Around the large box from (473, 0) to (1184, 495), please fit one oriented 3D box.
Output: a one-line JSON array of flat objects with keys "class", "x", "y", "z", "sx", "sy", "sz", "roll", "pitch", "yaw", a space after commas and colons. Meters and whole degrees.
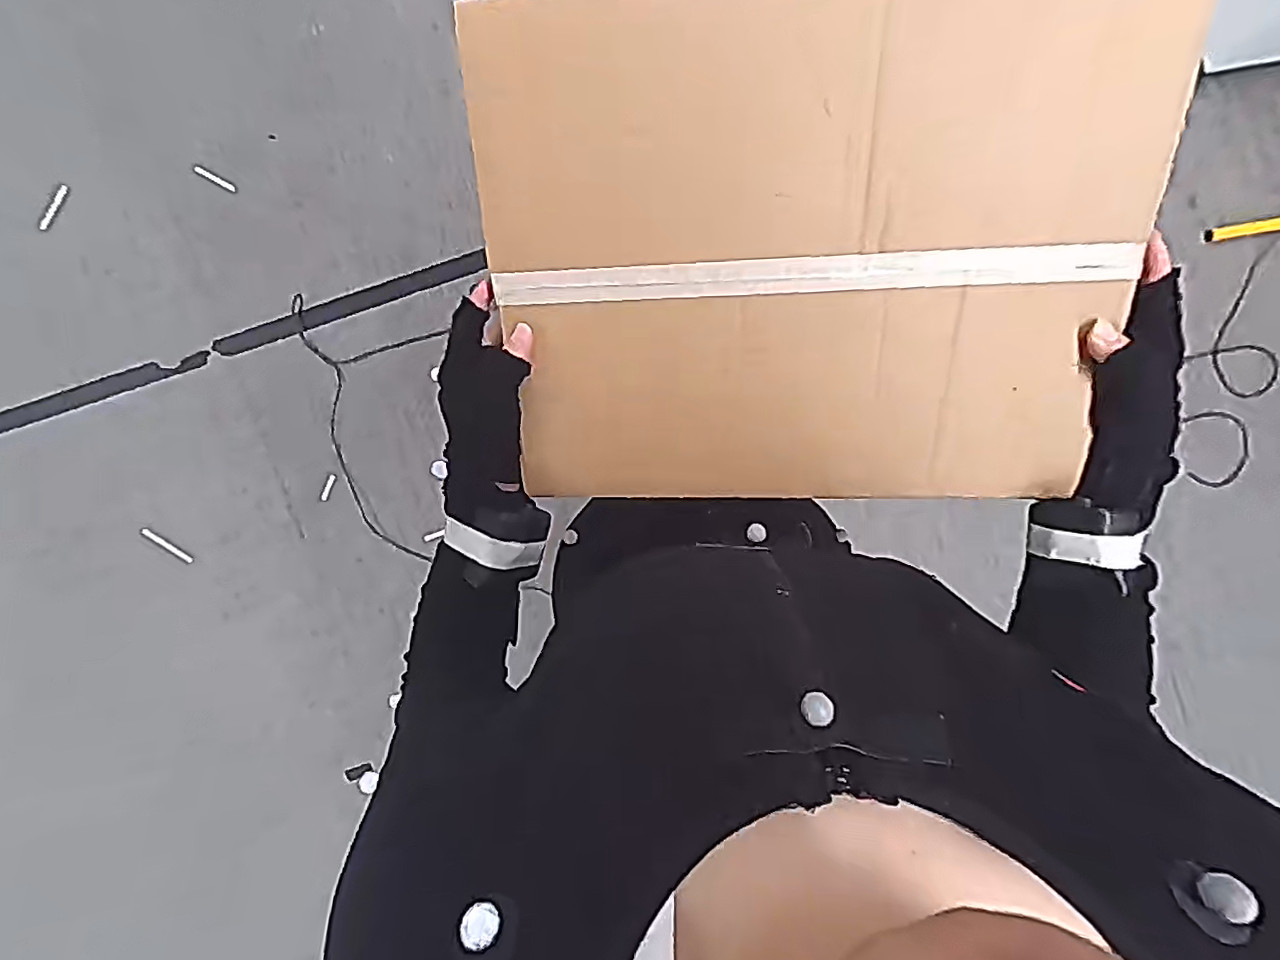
[{"class": "large box", "x": 0.114, "y": -0.190, "z": 0.500, "sx": 0.408, "sy": 0.320, "sz": 0.320, "roll": 0, "pitch": 114, "yaw": 6}]
